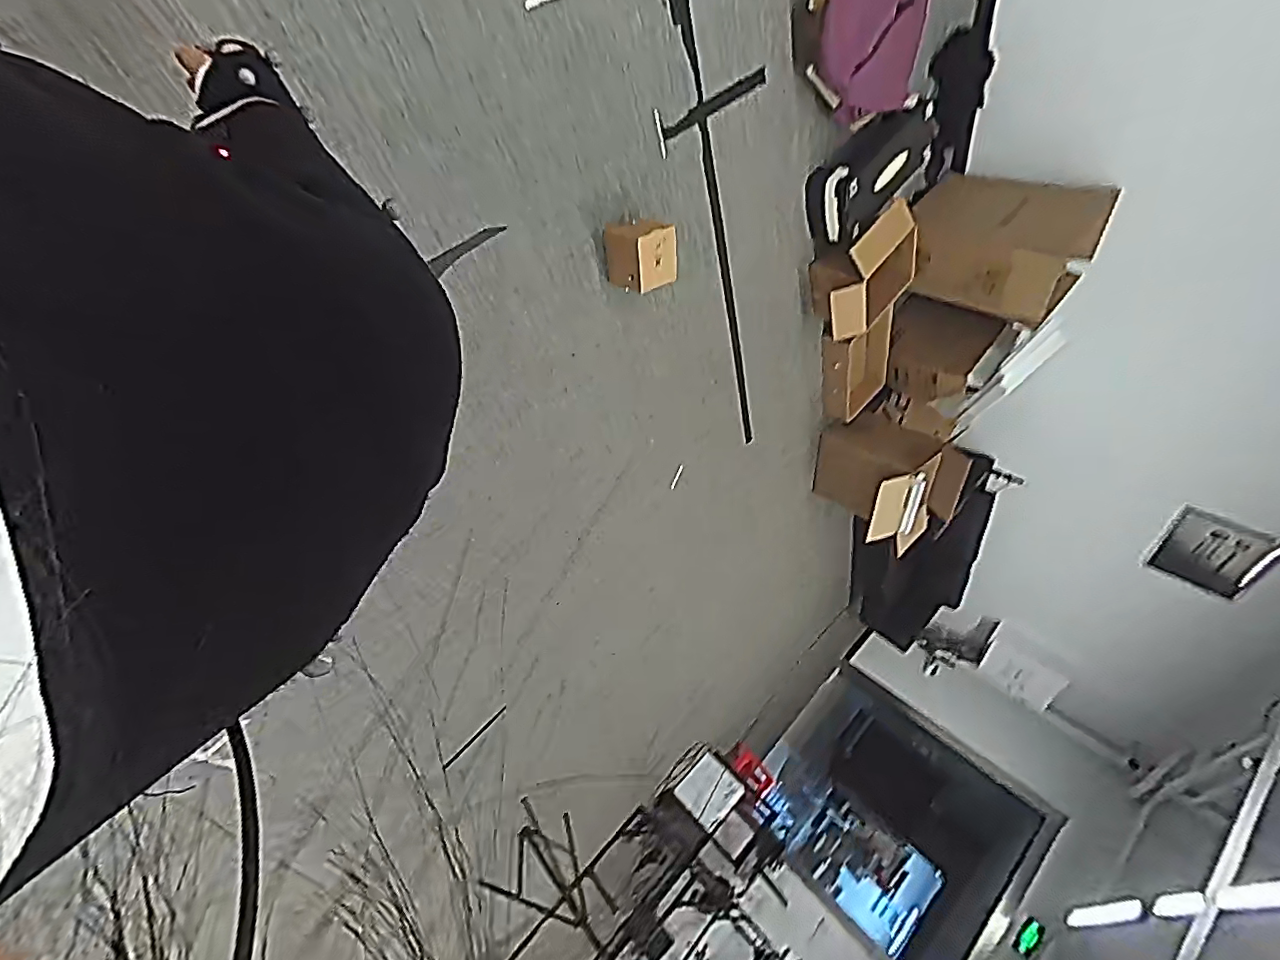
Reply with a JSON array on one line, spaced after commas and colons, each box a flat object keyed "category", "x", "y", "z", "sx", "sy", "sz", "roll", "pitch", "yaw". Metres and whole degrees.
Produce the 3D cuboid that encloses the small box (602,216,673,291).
[{"category": "small box", "x": -0.008, "y": -0.752, "z": 1.788, "sx": 0.168, "sy": 0.176, "sz": 0.179, "roll": -33, "pitch": 137, "yaw": -28}]
